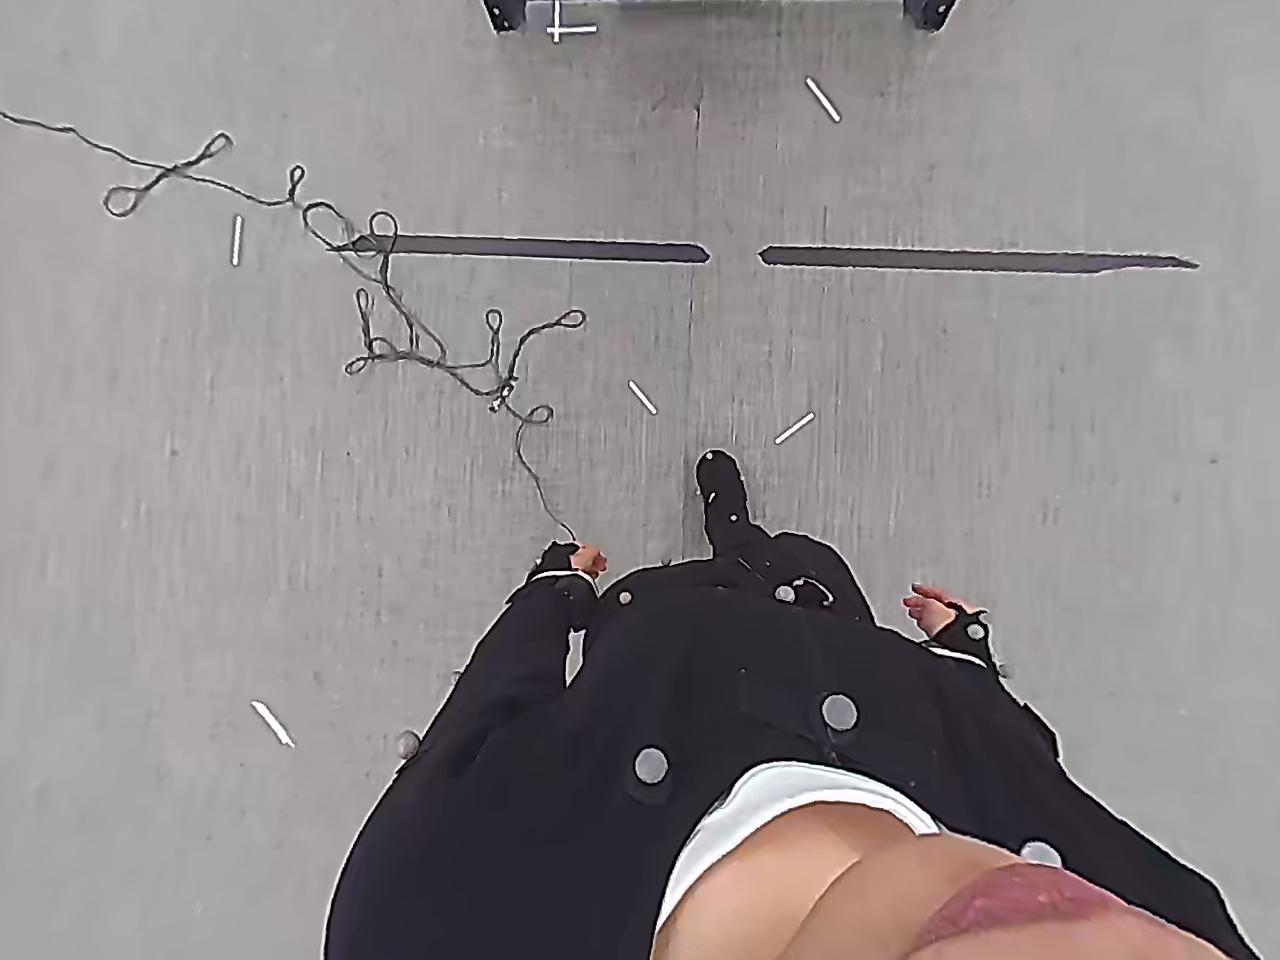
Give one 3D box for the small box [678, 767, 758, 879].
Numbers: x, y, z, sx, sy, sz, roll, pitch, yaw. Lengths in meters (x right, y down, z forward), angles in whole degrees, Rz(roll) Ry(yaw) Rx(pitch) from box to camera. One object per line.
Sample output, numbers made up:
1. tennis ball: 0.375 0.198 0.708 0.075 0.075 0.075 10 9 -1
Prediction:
1. small box: 0.182 0.811 1.295 0.179 0.176 0.168 1 88 3
